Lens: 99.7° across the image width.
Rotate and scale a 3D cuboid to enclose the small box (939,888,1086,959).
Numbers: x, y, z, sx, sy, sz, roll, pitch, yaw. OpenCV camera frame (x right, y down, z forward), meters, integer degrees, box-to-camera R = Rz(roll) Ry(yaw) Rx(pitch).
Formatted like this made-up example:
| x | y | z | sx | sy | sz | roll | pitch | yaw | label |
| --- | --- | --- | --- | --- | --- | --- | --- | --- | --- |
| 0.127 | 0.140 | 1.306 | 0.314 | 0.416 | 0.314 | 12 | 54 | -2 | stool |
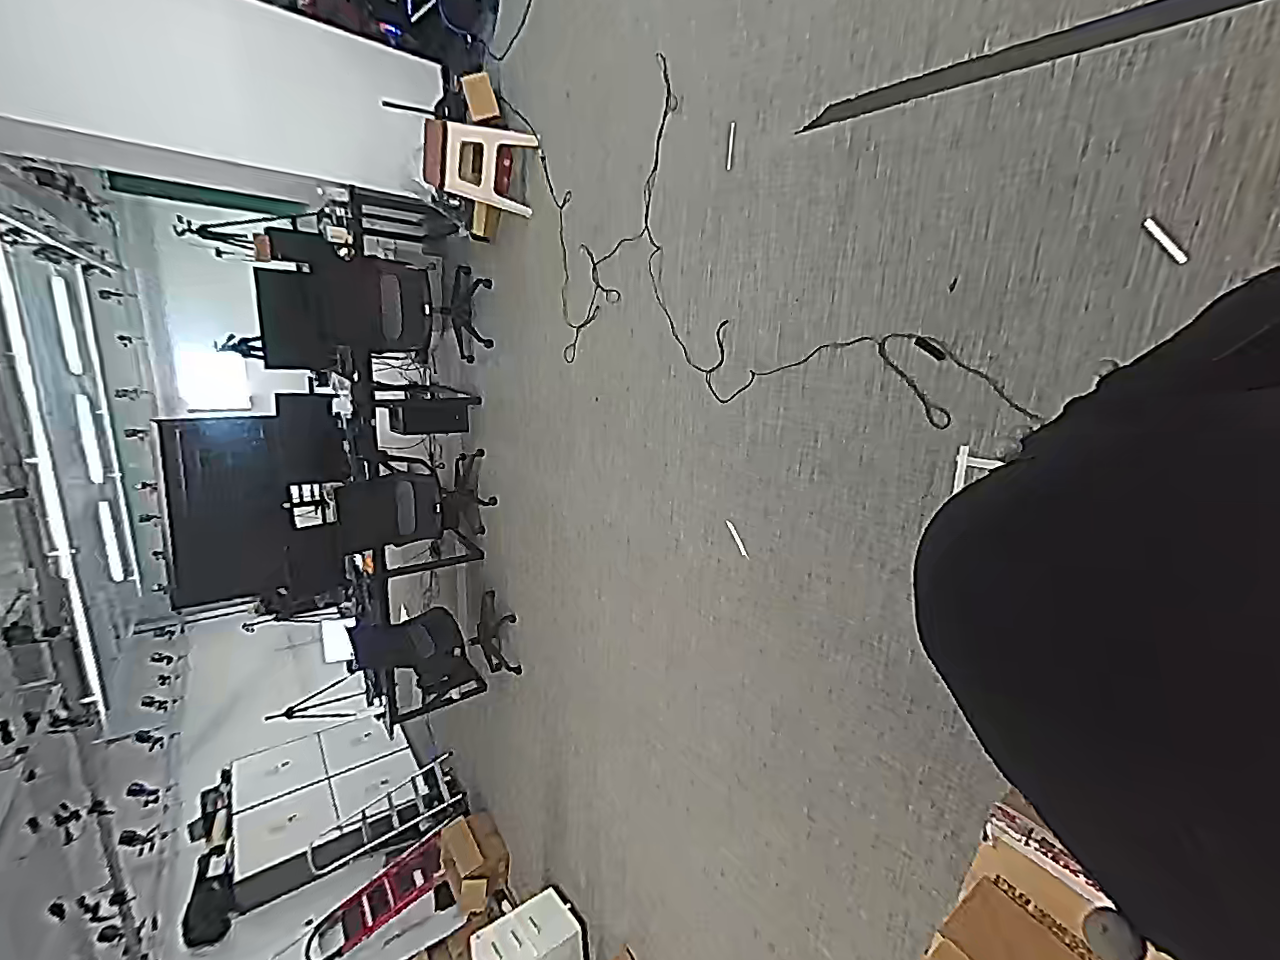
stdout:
| x | y | z | sx | sy | sz | roll | pitch | yaw | label |
| --- | --- | --- | --- | --- | --- | --- | --- | --- | --- |
| 0.568 | 0.781 | 0.818 | 0.179 | 0.176 | 0.168 | 32 | 120 | 49 | small box |
